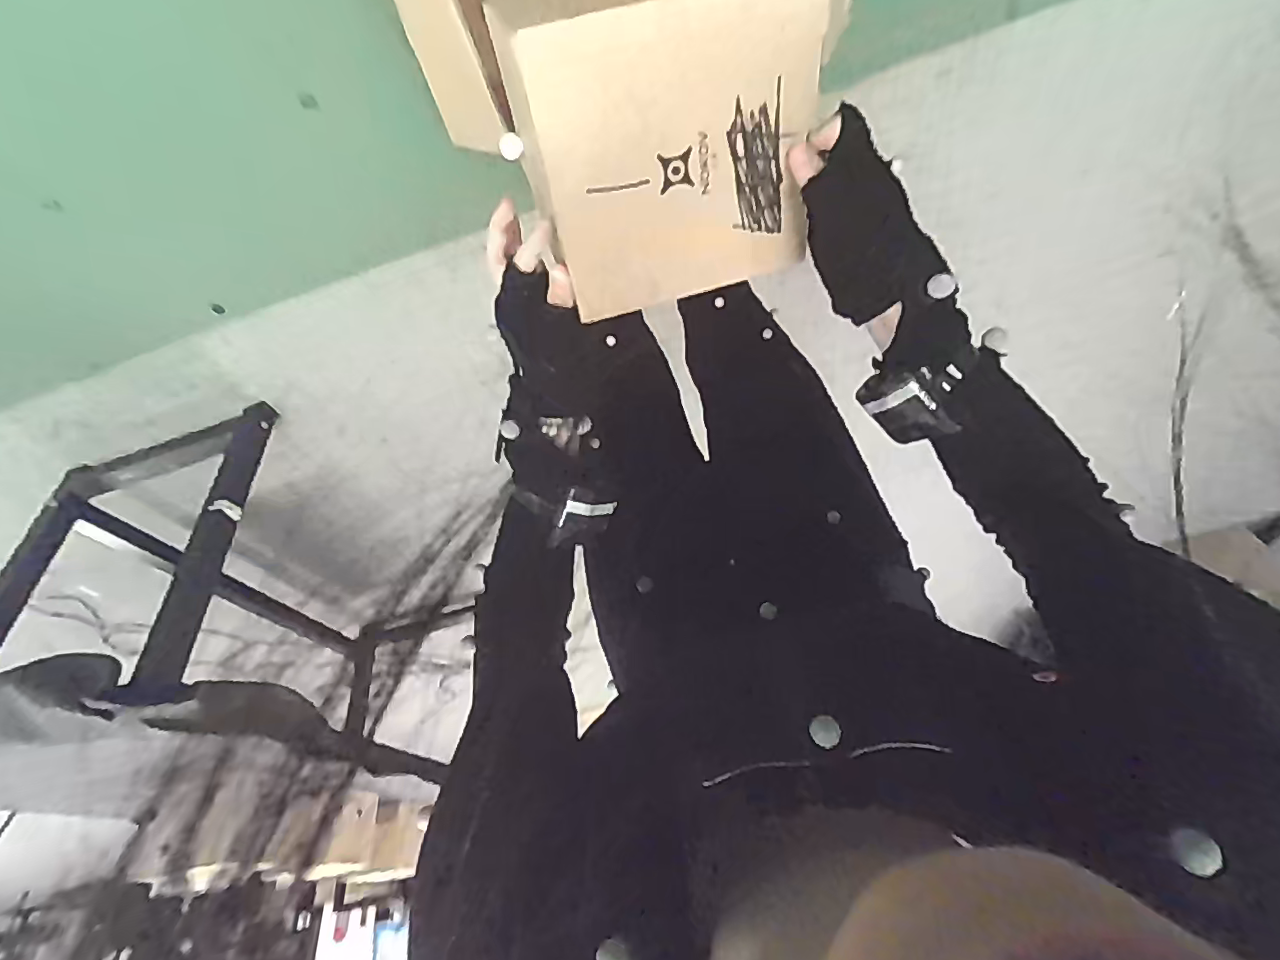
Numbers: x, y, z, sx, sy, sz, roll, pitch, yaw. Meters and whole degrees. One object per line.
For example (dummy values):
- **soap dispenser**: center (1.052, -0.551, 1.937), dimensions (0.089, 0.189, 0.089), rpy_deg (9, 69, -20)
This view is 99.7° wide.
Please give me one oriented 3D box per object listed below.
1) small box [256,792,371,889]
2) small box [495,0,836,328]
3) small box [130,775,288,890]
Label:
- **small box**: center (-0.812, 0.912, 1.367), dimensions (0.179, 0.176, 0.168), rpy_deg (-17, 141, 5)
- **small box**: center (0.010, -0.241, 0.388), dimensions (0.179, 0.176, 0.168), rpy_deg (-16, 137, -5)
- **small box**: center (-0.887, 0.741, 1.134), dimensions (0.179, 0.176, 0.168), rpy_deg (-16, 142, 4)
